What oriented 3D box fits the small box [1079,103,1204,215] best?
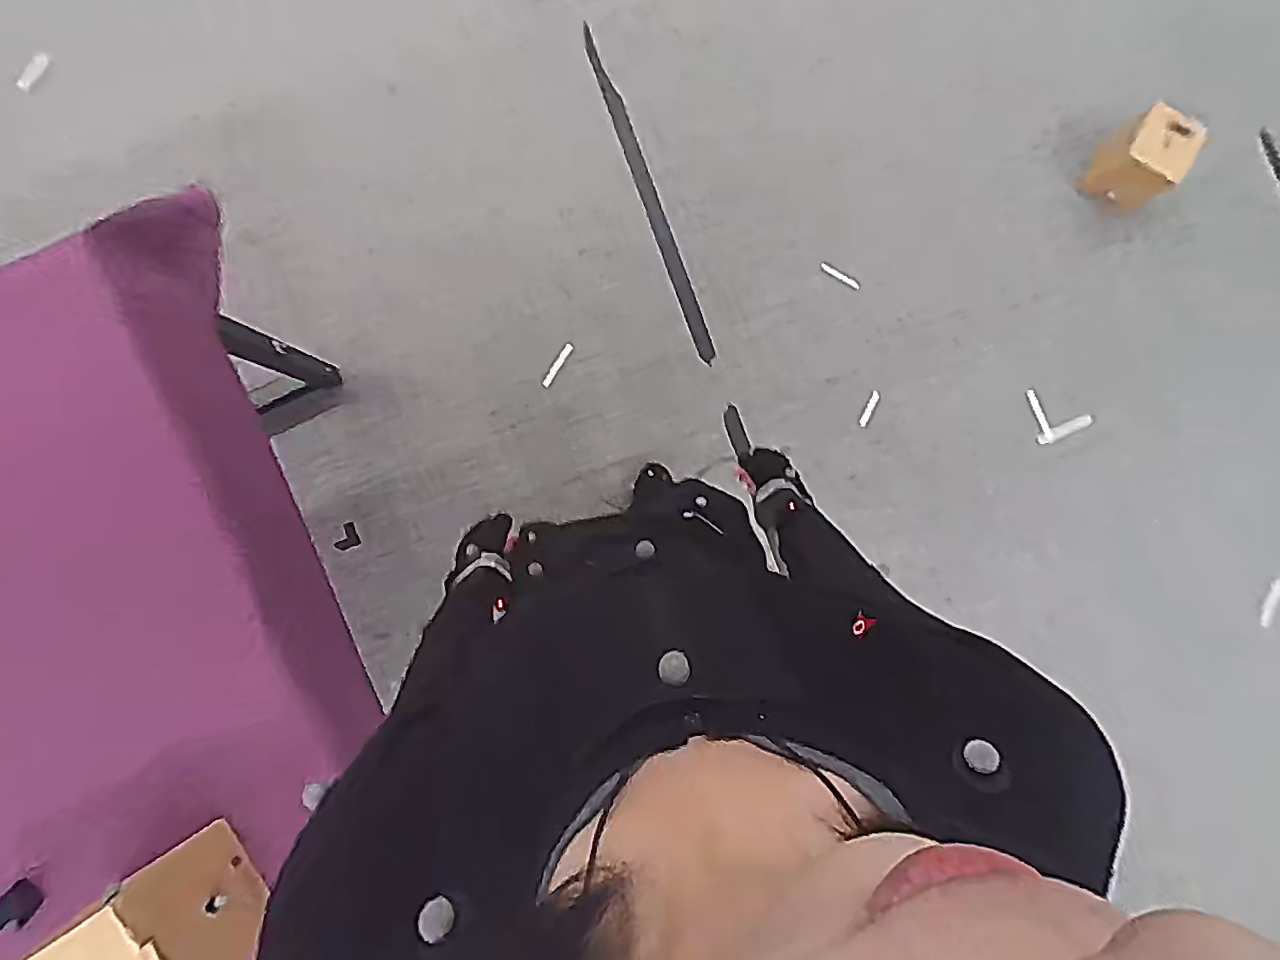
[{"bbox_3d":[1.412,-0.903,1.536,0.168,0.176,0.179,29,88,-1],"label":"small box"}]

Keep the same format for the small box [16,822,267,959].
[{"bbox_3d":[-0.610,0.577,0.669,0.179,0.176,0.168,-33,89,-4],"label":"small box"}]
